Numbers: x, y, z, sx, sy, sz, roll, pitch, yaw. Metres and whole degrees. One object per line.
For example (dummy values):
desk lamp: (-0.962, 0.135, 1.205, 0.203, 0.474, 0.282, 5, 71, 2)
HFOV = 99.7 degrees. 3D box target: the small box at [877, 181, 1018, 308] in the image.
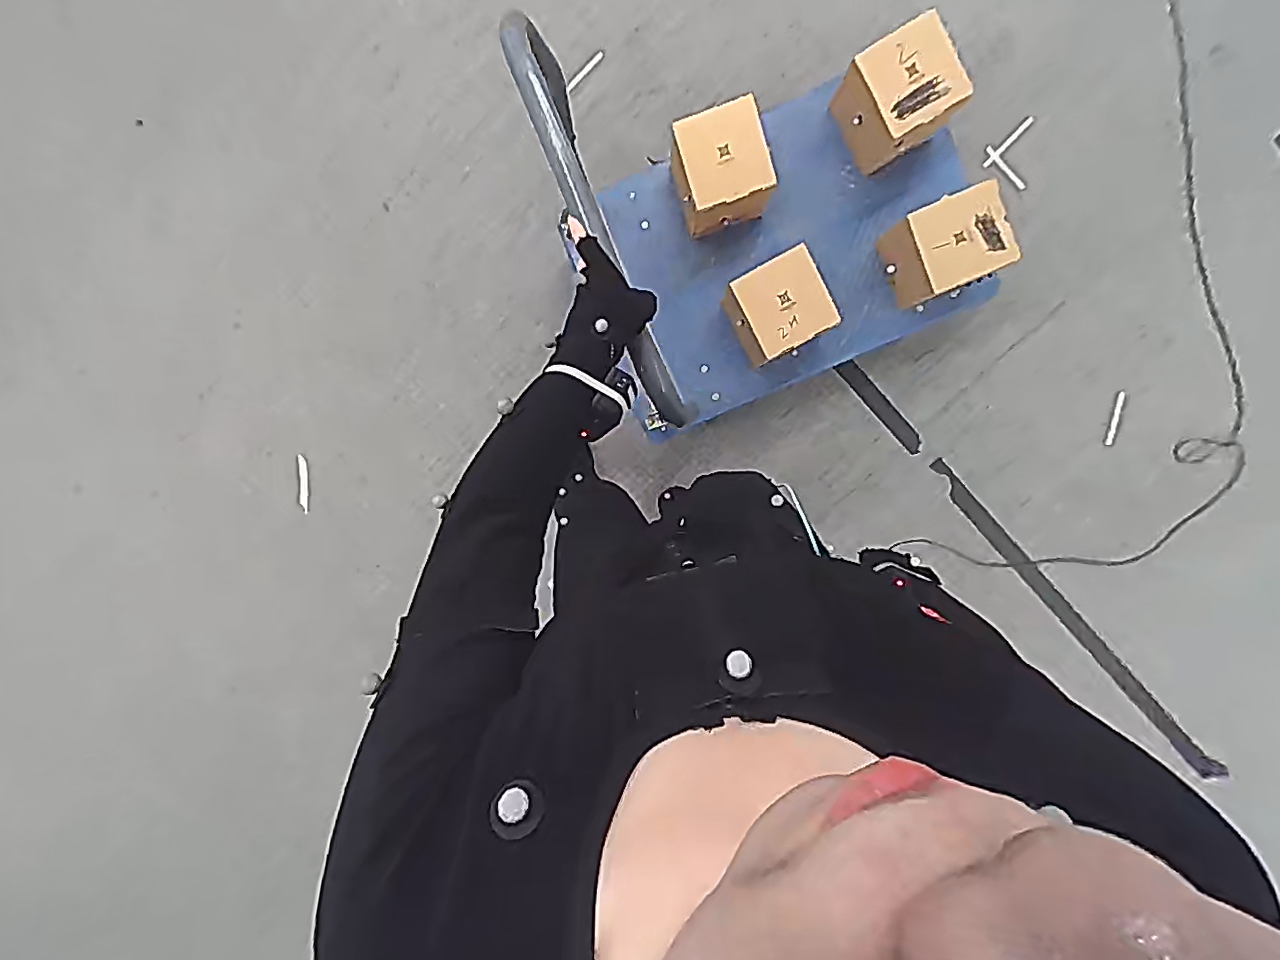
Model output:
small box: (0.630, -0.480, 1.127, 0.179, 0.176, 0.168, -21, 95, 6)

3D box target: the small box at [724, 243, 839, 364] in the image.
small box: (0.292, -0.365, 1.157, 0.168, 0.176, 0.179, -27, 95, 6)

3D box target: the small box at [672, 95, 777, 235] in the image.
small box: (0.168, -0.645, 1.129, 0.168, 0.176, 0.179, -18, 97, 4)
